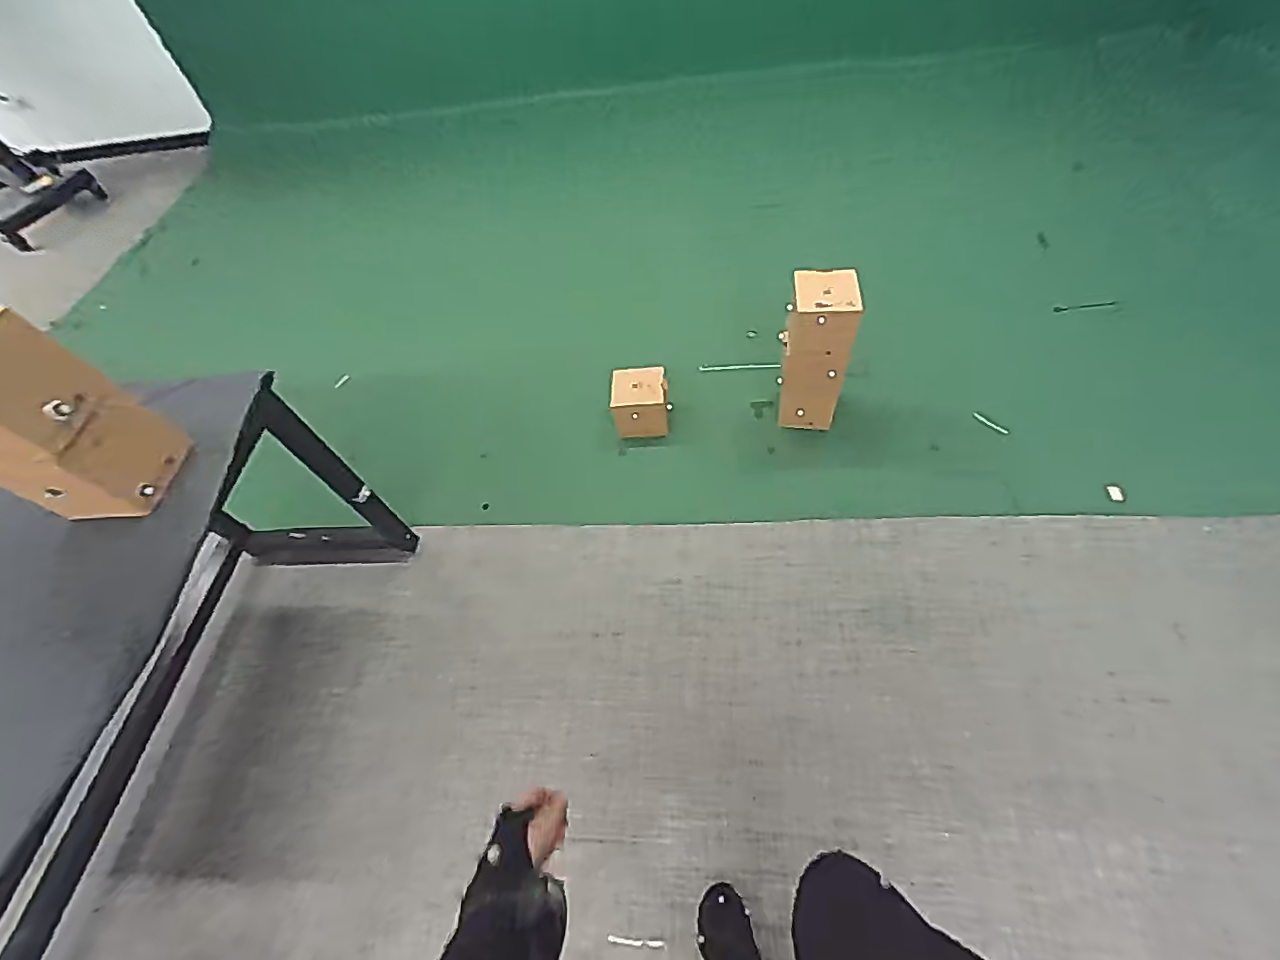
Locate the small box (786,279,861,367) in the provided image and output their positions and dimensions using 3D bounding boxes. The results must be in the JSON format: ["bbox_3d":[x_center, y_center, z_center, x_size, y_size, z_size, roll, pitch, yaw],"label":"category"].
[{"bbox_3d":[0.505,-0.440,1.515,0.168,0.176,0.179,2,55,8],"label":"small box"}]

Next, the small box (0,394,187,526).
[{"bbox_3d":[-0.958,-0.031,0.941,0.179,0.176,0.168,-4,56,9],"label":"small box"}]

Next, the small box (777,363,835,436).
[{"bbox_3d":[0.547,-0.265,1.790,0.168,0.176,0.179,5,57,11],"label":"small box"}]

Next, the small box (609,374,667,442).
[{"bbox_3d":[-0.003,-0.241,1.844,0.179,0.176,0.168,-2,56,6],"label":"small box"}]

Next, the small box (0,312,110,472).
[{"bbox_3d":[-0.978,-0.121,0.807,0.179,0.176,0.168,-6,57,6],"label":"small box"}]
